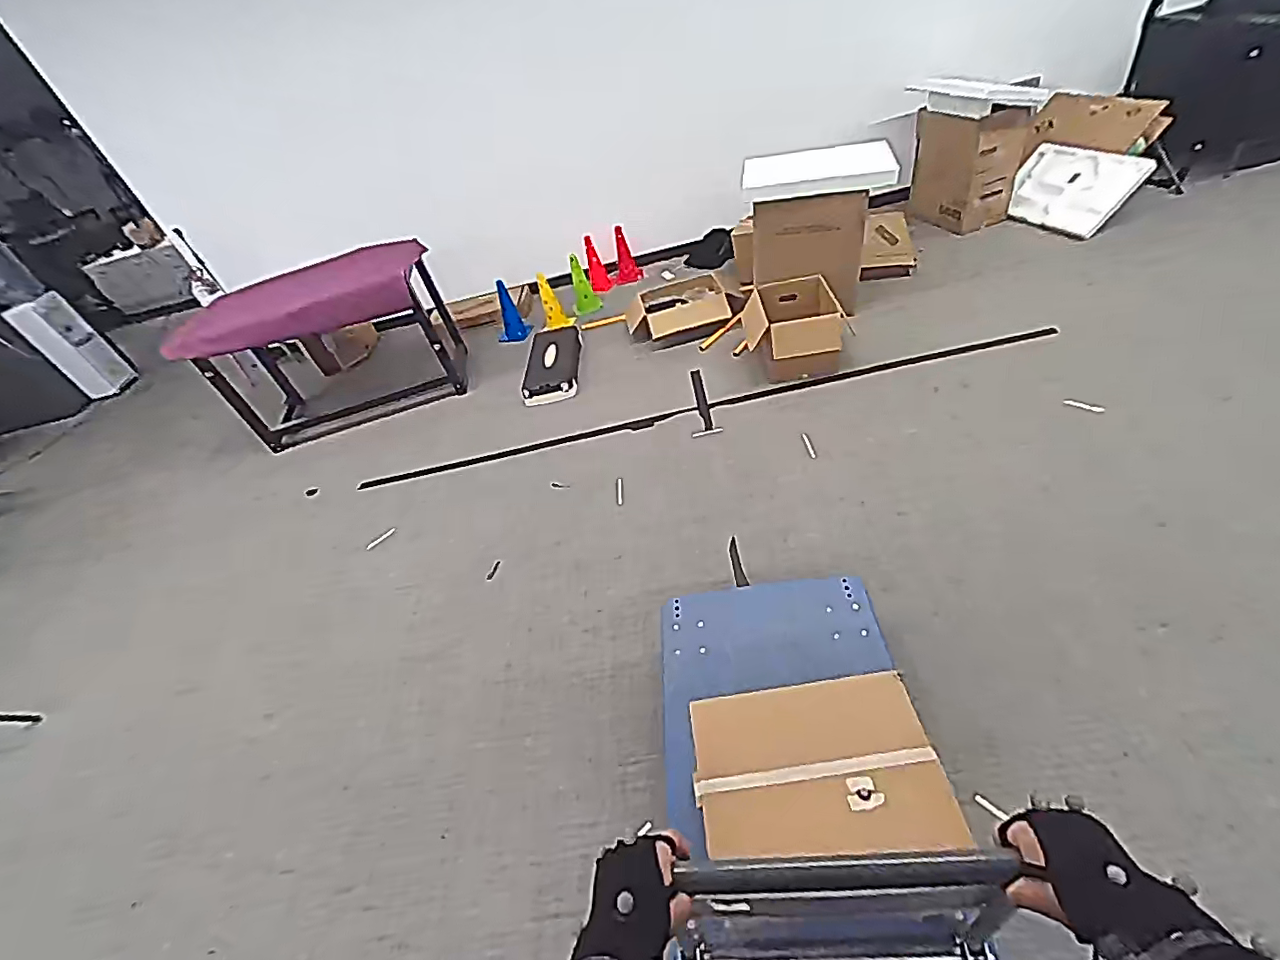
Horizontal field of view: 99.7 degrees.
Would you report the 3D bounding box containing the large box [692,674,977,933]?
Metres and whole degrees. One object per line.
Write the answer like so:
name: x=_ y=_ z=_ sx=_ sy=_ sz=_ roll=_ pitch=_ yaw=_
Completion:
large box: x=0.332 y=0.619 z=1.033 sx=0.408 sy=0.320 sz=0.320 roll=-11 pitch=42 yaw=4
